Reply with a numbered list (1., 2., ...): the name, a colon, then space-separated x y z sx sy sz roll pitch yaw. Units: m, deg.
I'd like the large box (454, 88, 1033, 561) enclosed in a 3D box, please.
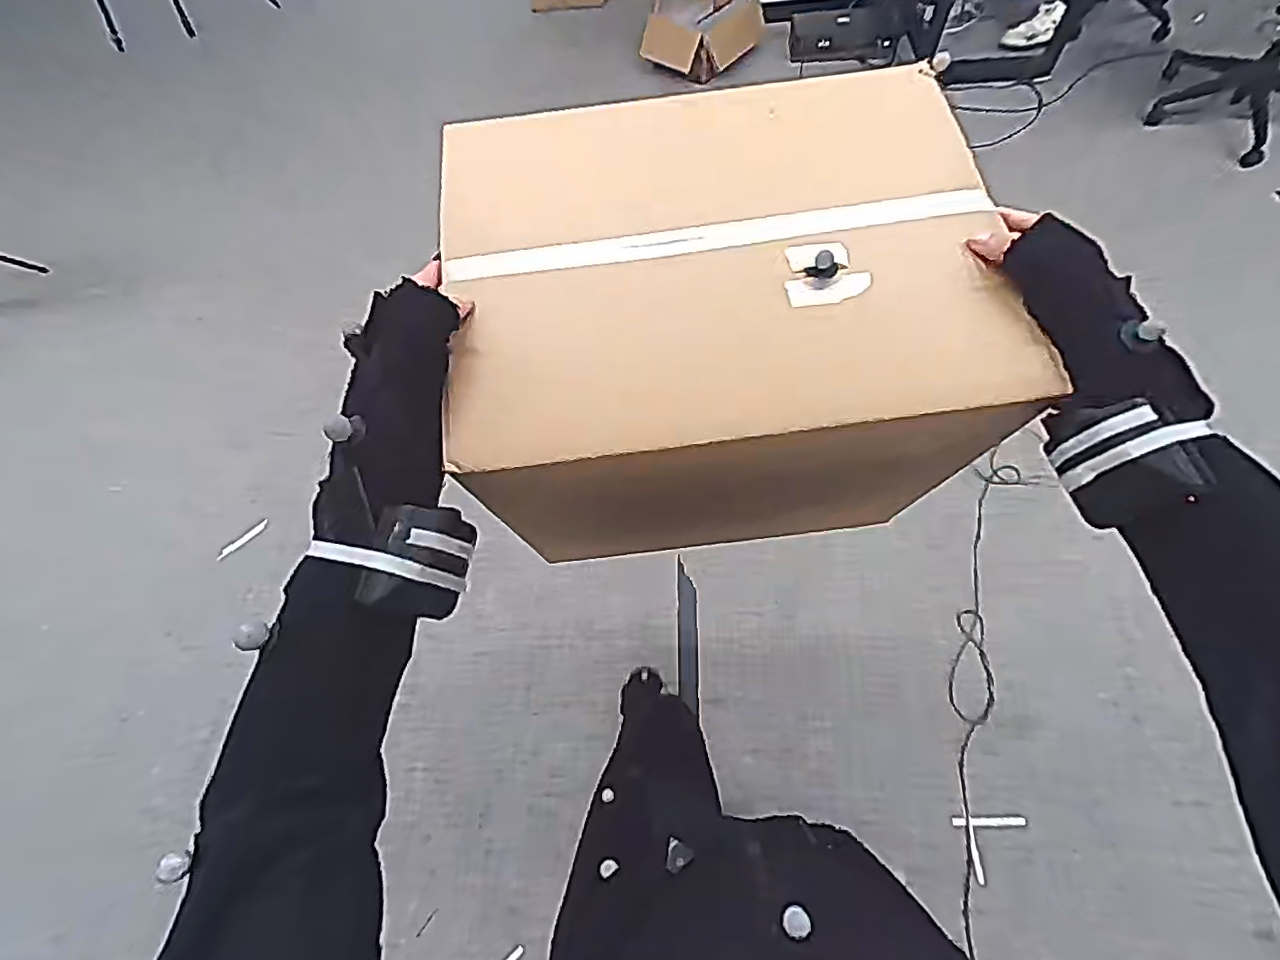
1. large box: 0.059 -0.121 0.556 0.408 0.320 0.320 -7 70 0
